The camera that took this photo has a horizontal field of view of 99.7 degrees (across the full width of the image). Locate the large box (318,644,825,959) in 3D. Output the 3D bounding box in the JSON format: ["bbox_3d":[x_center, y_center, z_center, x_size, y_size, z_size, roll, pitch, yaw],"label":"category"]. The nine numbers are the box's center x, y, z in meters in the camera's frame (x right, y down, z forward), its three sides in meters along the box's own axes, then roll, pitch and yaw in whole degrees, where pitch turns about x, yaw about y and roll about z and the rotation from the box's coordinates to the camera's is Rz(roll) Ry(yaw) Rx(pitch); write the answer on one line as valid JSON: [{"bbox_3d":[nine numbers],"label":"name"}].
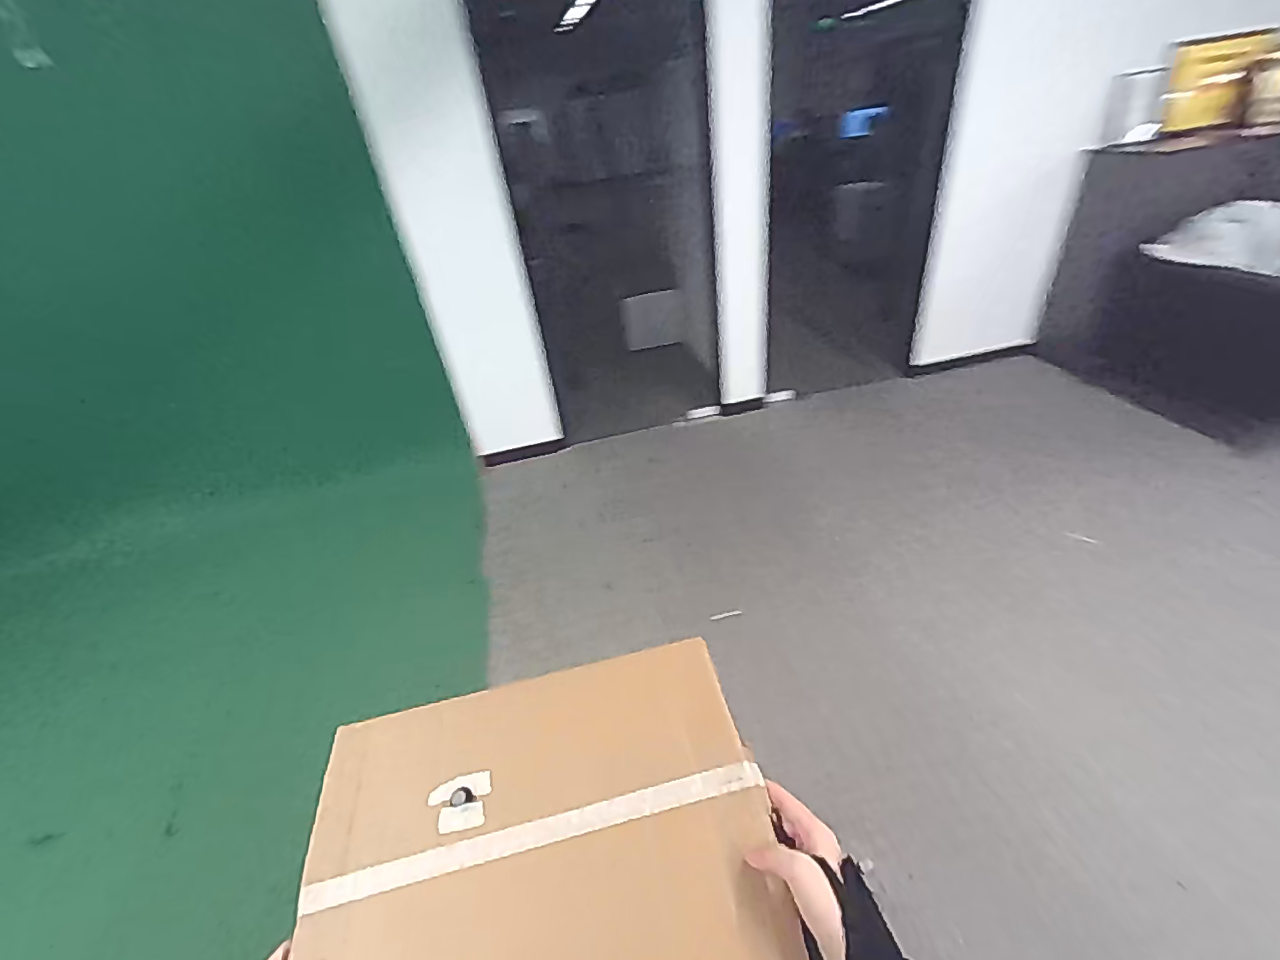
[{"bbox_3d":[-0.059,0.436,0.586,0.408,0.320,0.320,-13,40,-4],"label":"large box"}]
